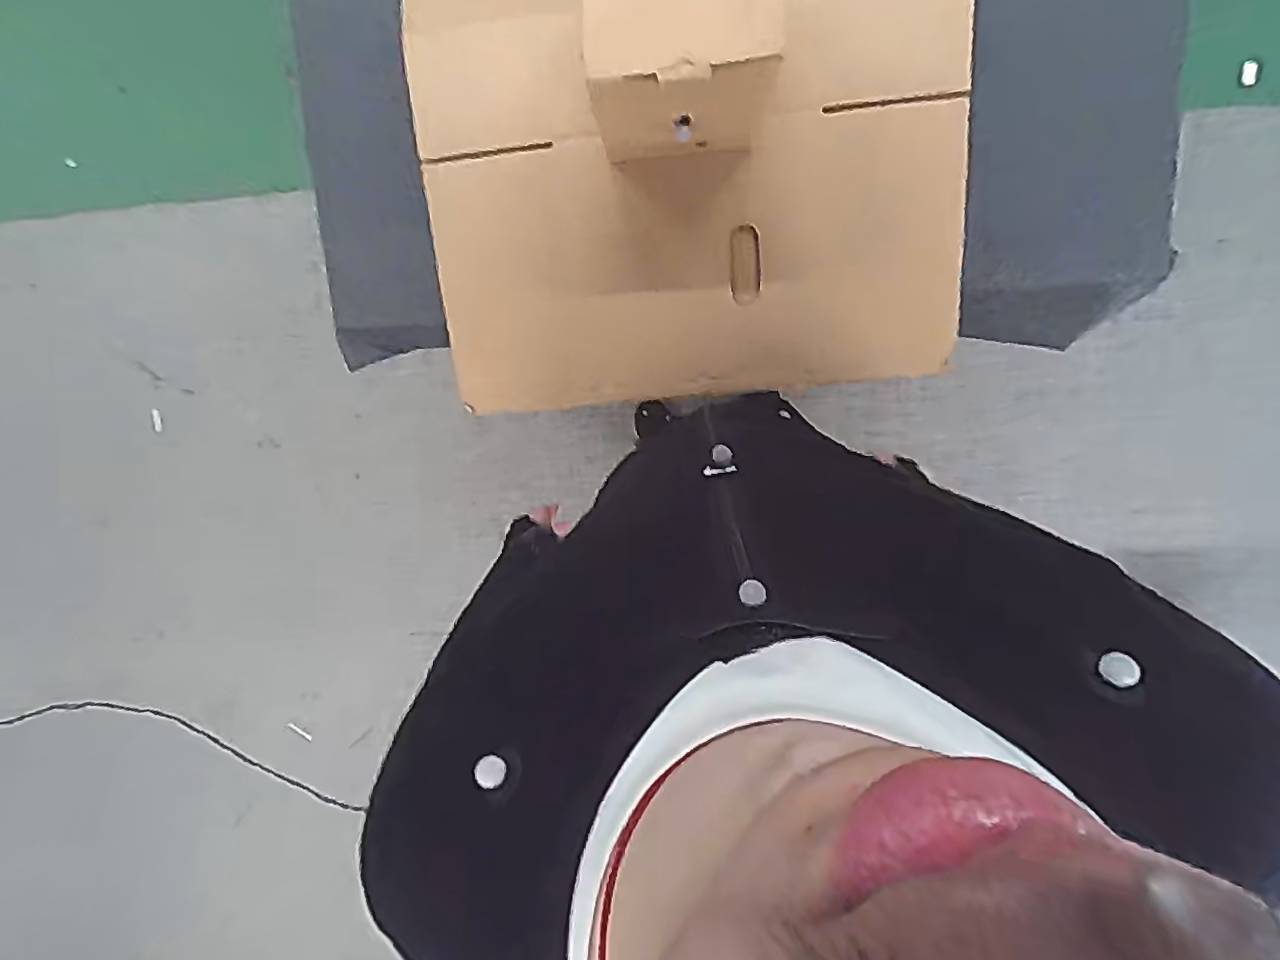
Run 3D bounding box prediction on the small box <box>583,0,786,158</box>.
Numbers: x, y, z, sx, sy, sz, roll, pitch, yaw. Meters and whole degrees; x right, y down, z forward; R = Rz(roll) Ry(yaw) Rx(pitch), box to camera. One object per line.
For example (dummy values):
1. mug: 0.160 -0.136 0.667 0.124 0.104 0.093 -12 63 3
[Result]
1. small box: 0.039 -0.433 0.515 0.168 0.176 0.179 -6 99 5
